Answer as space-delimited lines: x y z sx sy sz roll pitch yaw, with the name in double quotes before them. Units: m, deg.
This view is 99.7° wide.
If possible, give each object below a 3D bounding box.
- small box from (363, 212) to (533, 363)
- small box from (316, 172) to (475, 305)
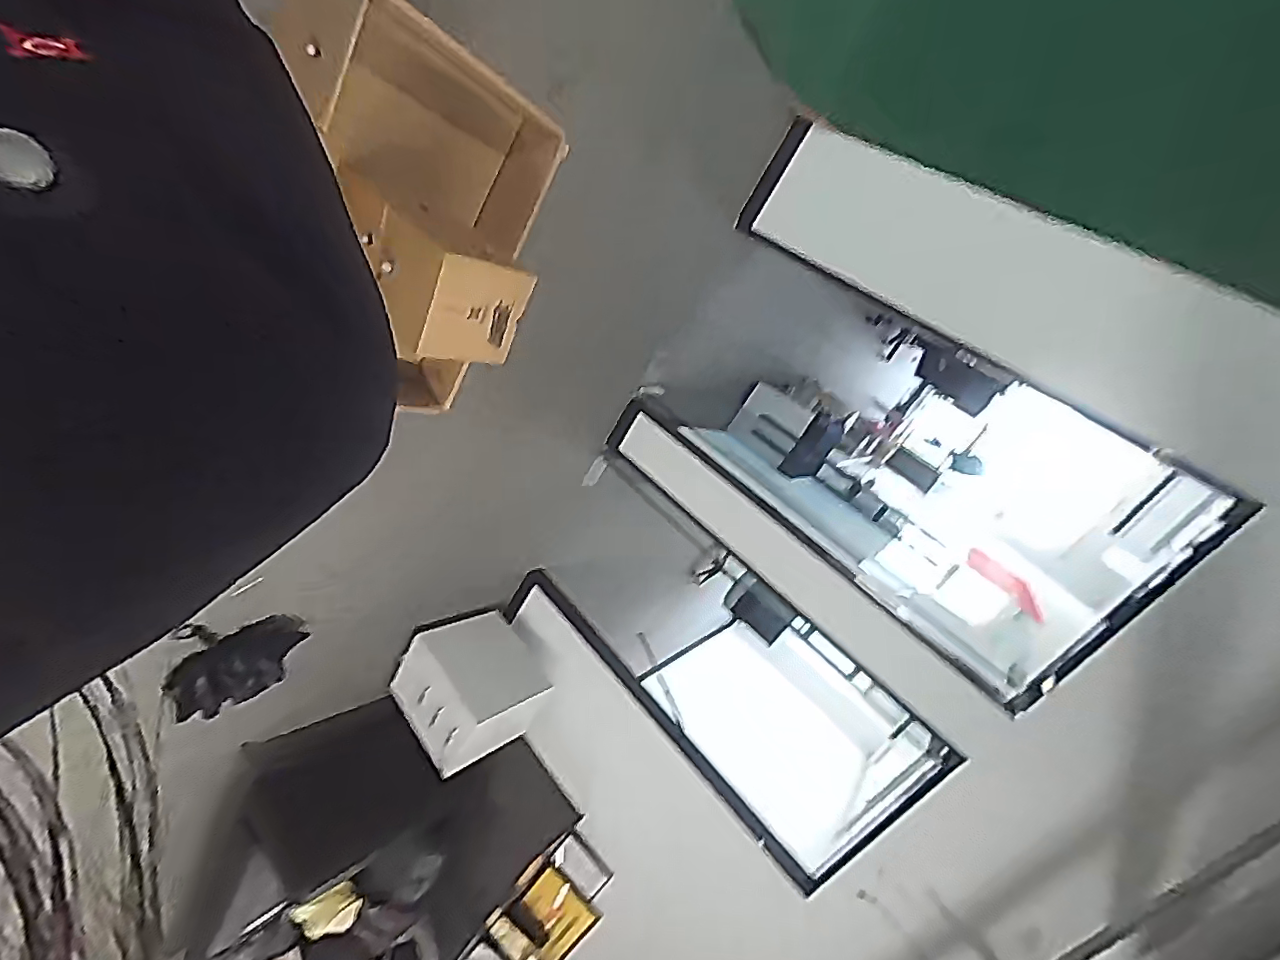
"small box" -0.315 -0.310 0.884 0.179 0.176 0.168 -9 134 -54
"small box" -0.429 -0.409 0.949 0.179 0.176 0.168 -13 136 -54
